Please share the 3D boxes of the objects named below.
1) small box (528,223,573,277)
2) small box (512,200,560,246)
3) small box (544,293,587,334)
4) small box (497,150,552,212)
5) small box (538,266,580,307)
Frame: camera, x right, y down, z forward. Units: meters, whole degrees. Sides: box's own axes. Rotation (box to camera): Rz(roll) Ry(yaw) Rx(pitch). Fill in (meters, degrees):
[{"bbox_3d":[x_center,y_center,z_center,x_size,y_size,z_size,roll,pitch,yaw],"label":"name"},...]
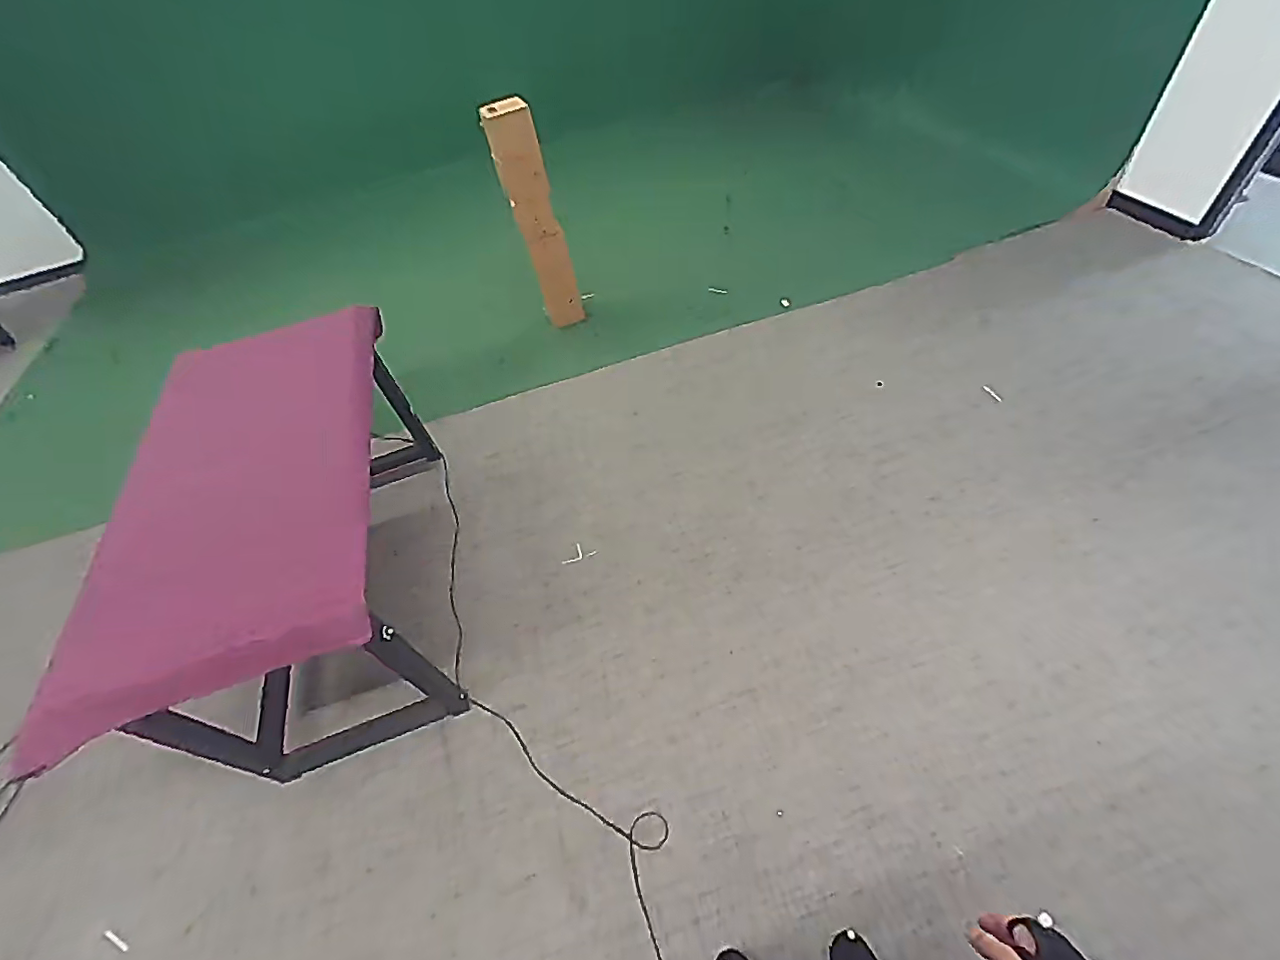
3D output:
[{"bbox_3d":[-0.442,-1.113,2.627,0.179,0.176,0.168,-21,50,-7],"label":"small box"},{"bbox_3d":[-0.478,-1.203,2.494,0.168,0.176,0.179,-19,51,-4],"label":"small box"},{"bbox_3d":[-0.390,-0.910,2.876,0.179,0.176,0.168,-21,50,-7],"label":"small box"},{"bbox_3d":[-0.501,-1.315,2.377,0.179,0.176,0.168,-26,50,-9],"label":"small box"},{"bbox_3d":[-0.413,-1.013,2.753,0.179,0.176,0.168,-20,50,-5],"label":"small box"}]
